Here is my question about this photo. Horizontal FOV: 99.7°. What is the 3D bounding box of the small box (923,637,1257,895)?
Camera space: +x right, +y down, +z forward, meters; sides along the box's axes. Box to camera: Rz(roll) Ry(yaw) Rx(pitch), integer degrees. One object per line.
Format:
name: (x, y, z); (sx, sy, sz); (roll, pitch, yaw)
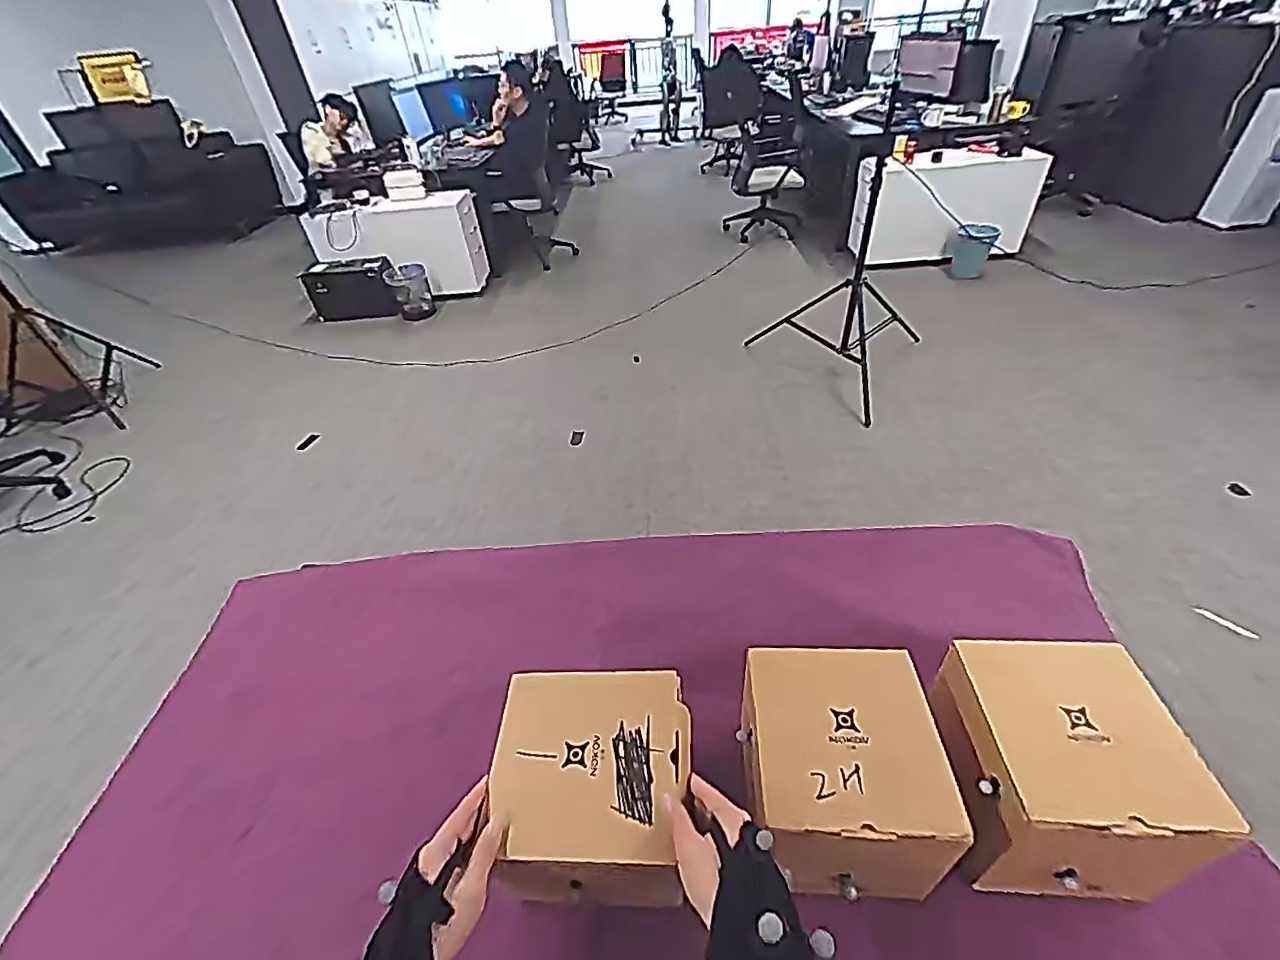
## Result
small box: (0.409, 0.279, 0.540); (0.168, 0.176, 0.179); (-2, 39, 6)

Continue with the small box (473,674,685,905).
small box: (-0.042, 0.315, 0.552); (0.179, 0.176, 0.168); (-2, 43, 6)
